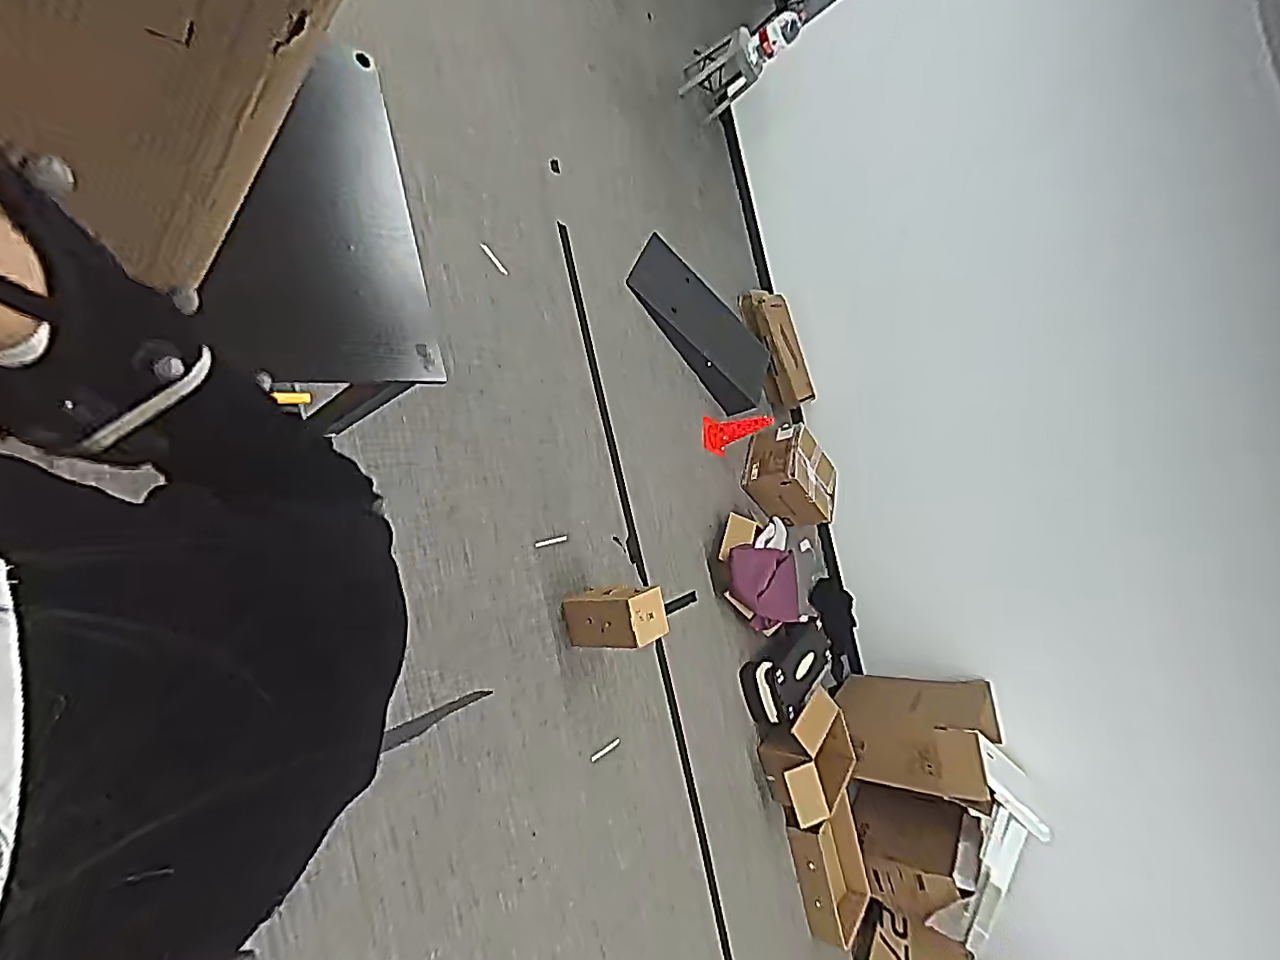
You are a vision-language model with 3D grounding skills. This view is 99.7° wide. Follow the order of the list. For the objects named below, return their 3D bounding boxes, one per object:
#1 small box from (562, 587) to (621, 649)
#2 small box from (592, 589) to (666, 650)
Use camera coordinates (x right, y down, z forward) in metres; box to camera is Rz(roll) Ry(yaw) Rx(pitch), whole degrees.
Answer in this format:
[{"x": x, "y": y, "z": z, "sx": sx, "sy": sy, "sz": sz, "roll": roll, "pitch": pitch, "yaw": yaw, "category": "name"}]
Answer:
[{"x": -0.163, "y": 0.504, "z": 1.976, "sx": 0.168, "sy": 0.176, "sz": 0.179, "roll": -15, "pitch": 92, "yaw": -50, "category": "small box"}, {"x": -0.038, "y": 0.479, "z": 1.871, "sx": 0.179, "sy": 0.176, "sz": 0.168, "roll": -10, "pitch": 87, "yaw": -50, "category": "small box"}]
